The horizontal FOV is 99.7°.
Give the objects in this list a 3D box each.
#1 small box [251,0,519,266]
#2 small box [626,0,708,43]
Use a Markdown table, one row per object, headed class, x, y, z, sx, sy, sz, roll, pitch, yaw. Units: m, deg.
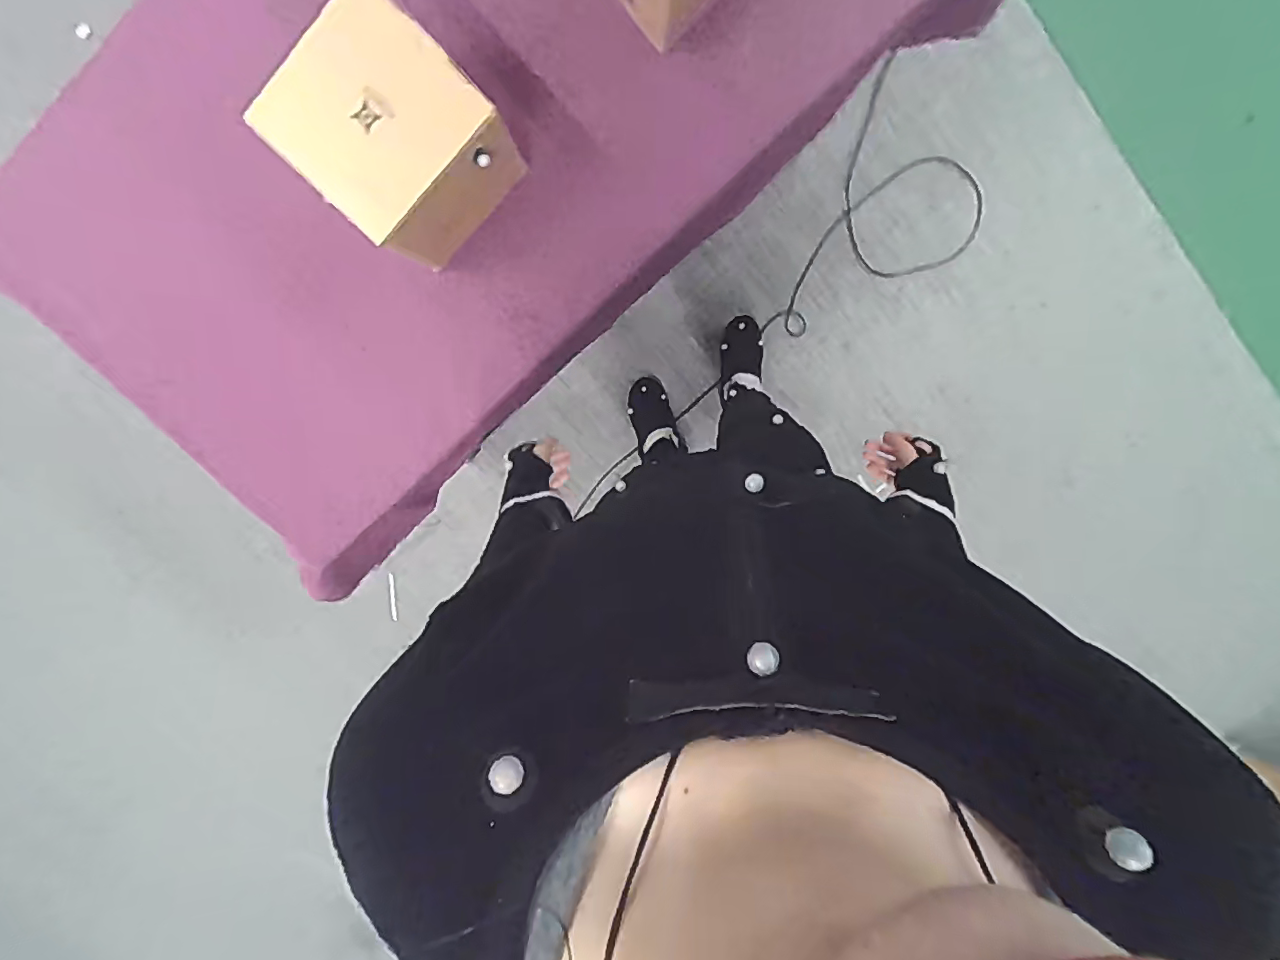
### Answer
| class | x | y | z | sx | sy | sz | roll | pitch | yaw |
| --- | --- | --- | --- | --- | --- | --- | --- | --- | --- |
| small box | -0.257 | -0.365 | 0.594 | 0.168 | 0.176 | 0.179 | 43 | 97 | -9 |
| small box | 0.036 | -0.608 | 0.545 | 0.179 | 0.176 | 0.168 | -41 | 101 | 7 |
